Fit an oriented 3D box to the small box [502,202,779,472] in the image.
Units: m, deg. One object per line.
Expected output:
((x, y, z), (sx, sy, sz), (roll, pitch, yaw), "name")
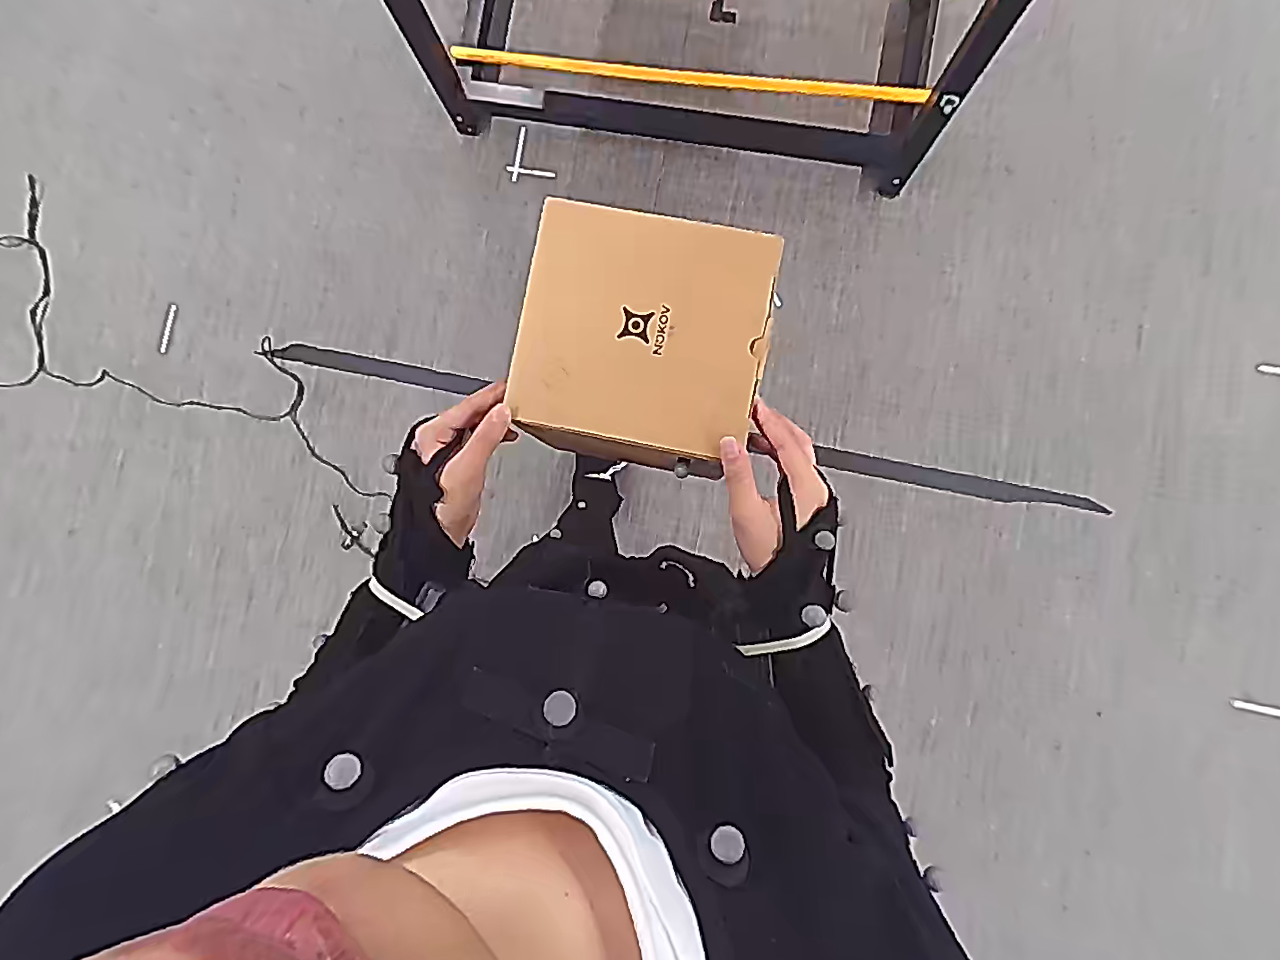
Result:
((0.003, -0.105, 0.469), (0.179, 0.176, 0.168), (11, 86, 2), "small box")
